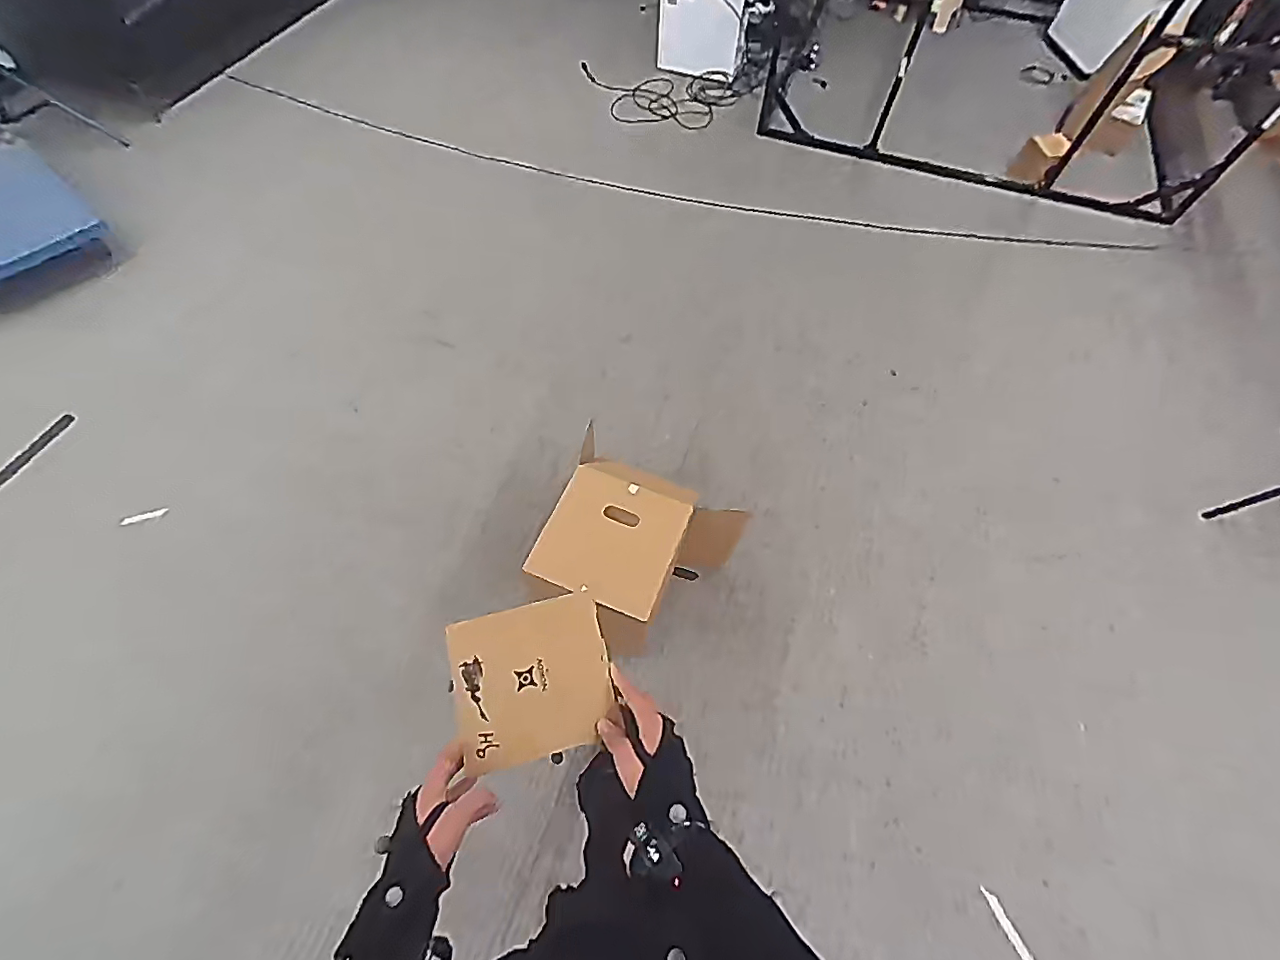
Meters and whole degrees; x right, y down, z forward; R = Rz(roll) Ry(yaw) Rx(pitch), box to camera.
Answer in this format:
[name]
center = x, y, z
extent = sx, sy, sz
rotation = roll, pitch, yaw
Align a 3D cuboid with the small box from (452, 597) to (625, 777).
[small box]
center = -0.127, 0.262, 0.697
extent = 0.179, 0.176, 0.168
rotation = -12, 69, -10
